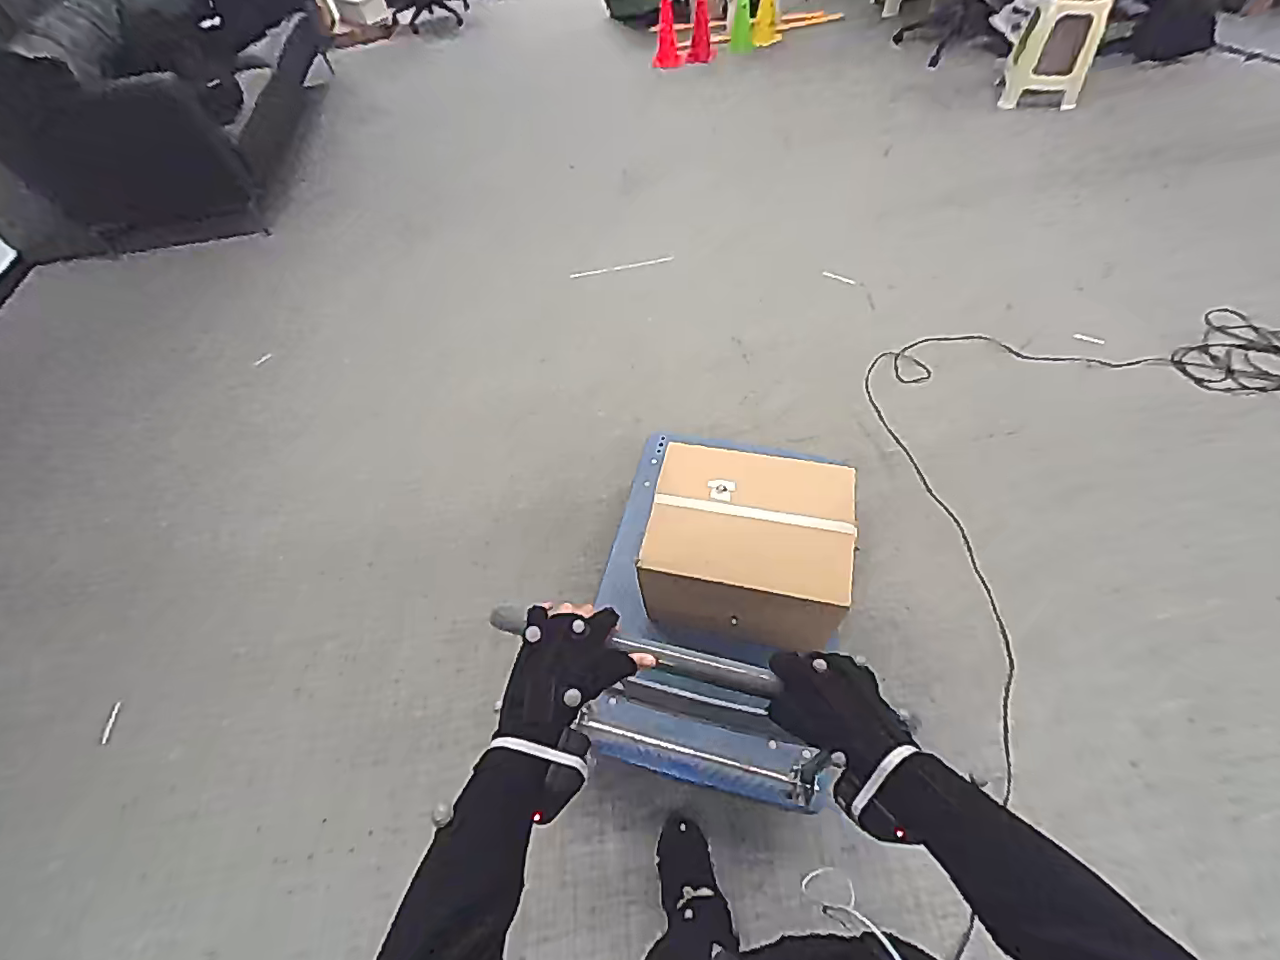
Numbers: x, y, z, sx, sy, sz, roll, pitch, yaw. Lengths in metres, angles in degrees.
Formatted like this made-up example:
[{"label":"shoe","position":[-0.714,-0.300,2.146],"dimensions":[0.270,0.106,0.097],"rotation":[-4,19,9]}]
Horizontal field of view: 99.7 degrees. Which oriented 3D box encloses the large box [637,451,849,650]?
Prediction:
[{"label":"large box","position":[0.236,0.163,1.231],"dimensions":[0.408,0.320,0.320],"rotation":[8,57,13]}]
